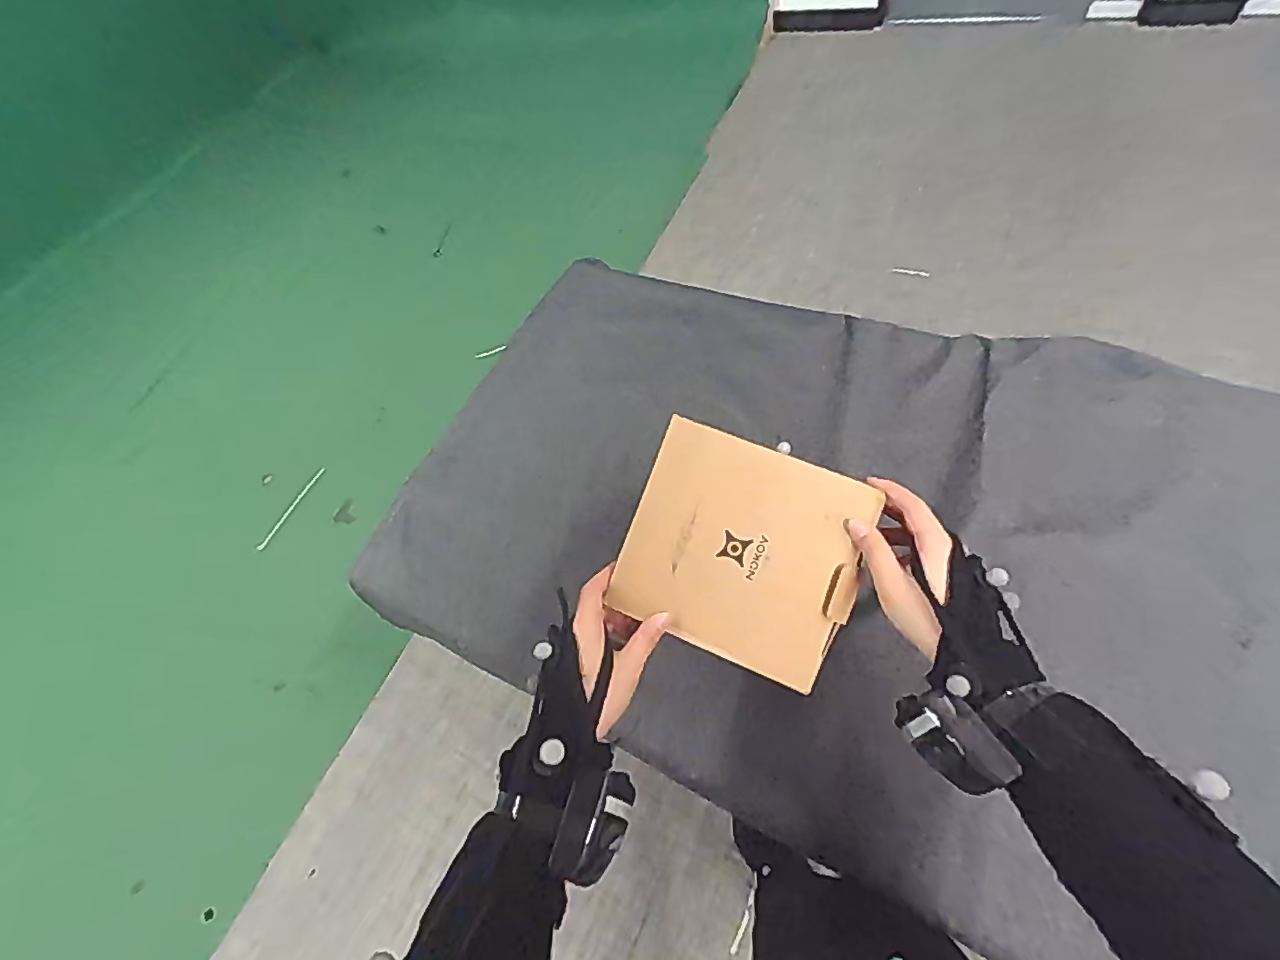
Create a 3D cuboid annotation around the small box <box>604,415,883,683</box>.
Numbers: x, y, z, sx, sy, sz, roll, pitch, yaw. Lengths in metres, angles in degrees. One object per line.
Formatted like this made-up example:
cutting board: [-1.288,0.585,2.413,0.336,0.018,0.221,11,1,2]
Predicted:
small box: [0.092,0.056,0.503,0.179,0.176,0.168,20,89,11]
